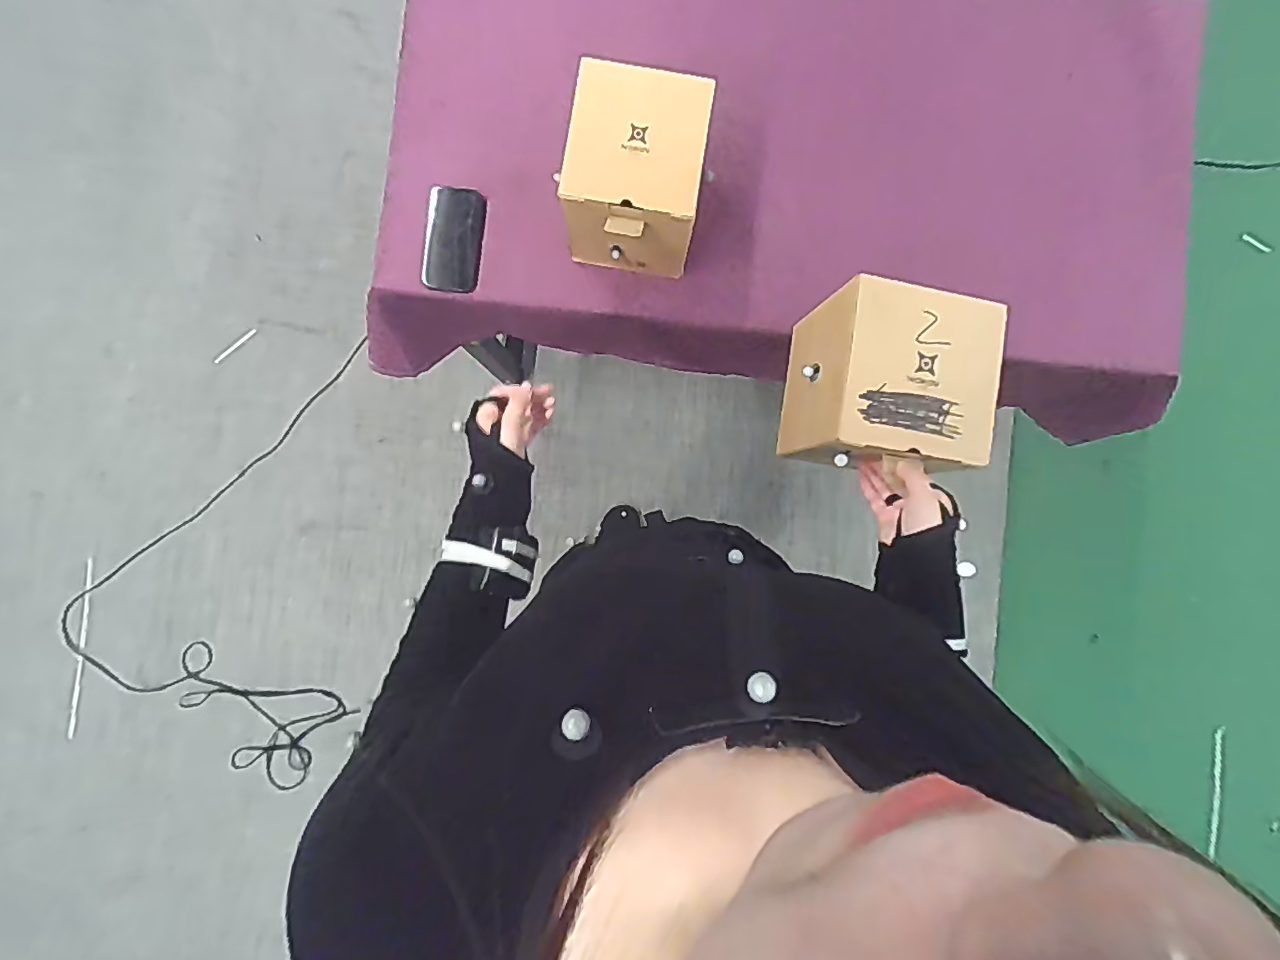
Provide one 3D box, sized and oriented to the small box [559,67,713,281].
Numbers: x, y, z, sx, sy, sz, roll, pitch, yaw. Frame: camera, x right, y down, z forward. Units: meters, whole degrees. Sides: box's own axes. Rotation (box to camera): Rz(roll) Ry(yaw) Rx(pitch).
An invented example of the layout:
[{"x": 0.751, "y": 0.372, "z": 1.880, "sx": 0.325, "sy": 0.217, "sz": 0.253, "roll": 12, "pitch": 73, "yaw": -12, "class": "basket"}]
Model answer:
[{"x": -0.007, "y": -0.398, "z": 0.732, "sx": 0.168, "sy": 0.176, "sz": 0.179, "roll": 9, "pitch": 87, "yaw": -1, "class": "small box"}]
